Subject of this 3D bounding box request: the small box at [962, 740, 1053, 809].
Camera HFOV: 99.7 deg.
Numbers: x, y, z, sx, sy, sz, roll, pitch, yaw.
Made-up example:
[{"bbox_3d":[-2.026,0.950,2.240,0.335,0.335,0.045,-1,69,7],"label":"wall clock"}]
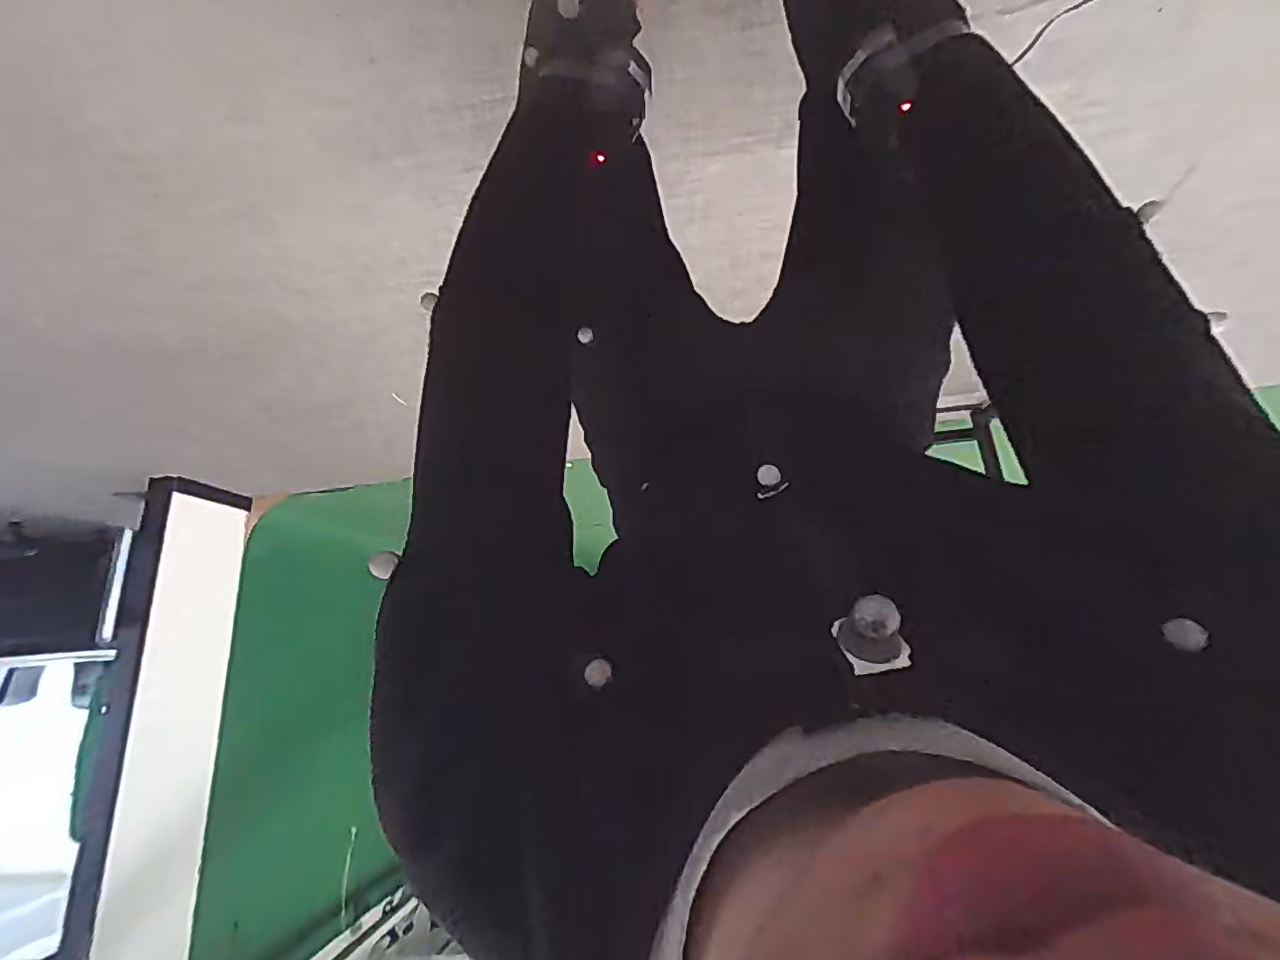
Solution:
[{"bbox_3d":[1.219,0.976,1.809,0.179,0.176,0.168,-9,161,7],"label":"small box"}]
